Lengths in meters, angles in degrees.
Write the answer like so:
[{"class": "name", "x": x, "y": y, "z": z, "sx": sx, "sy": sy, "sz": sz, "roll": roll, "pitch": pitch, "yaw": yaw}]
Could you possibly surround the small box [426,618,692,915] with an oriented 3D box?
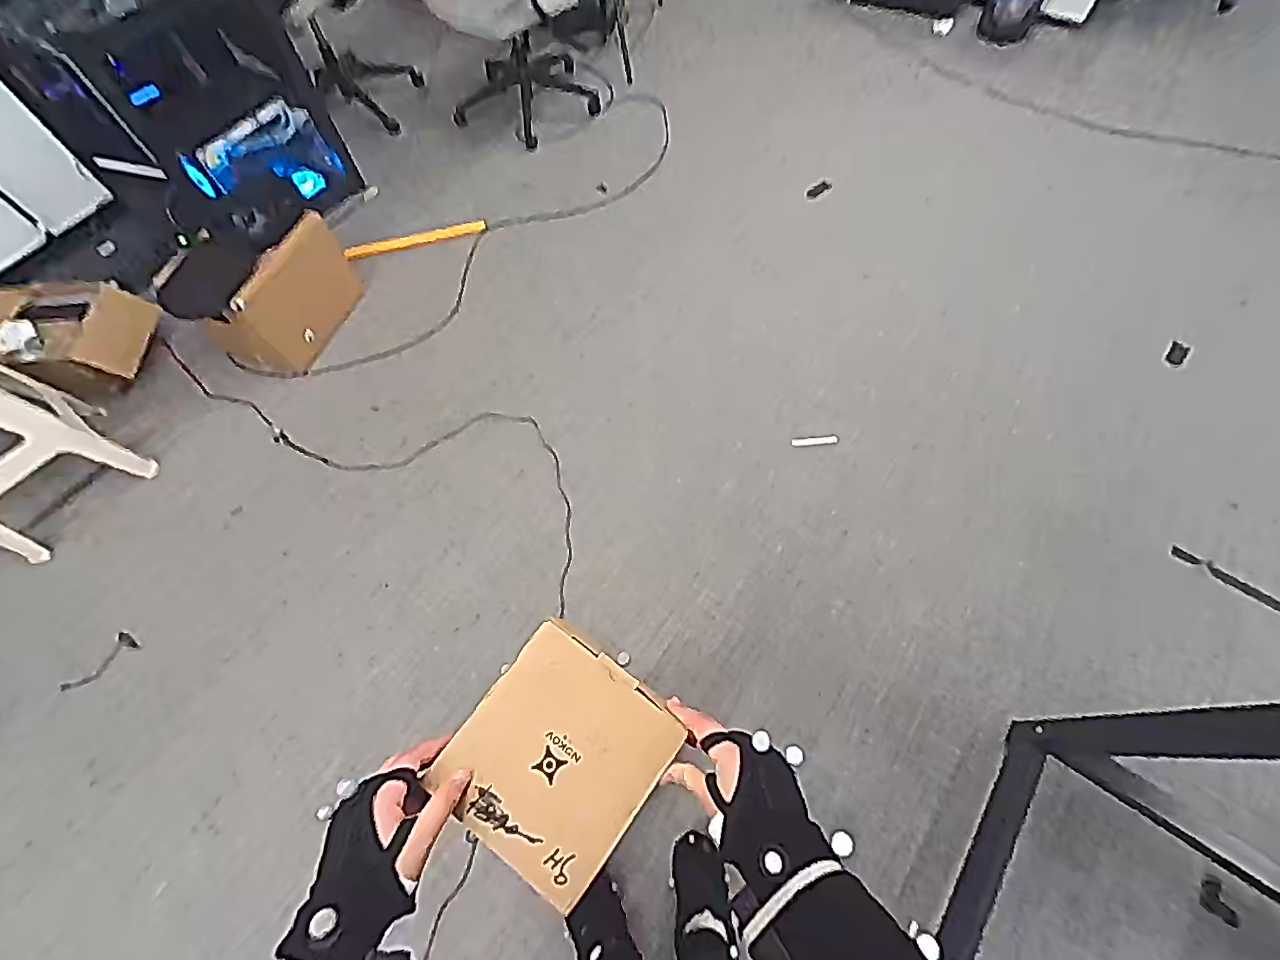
[{"class": "small box", "x": -0.071, "y": 0.261, "z": 0.542, "sx": 0.168, "sy": 0.176, "sz": 0.179, "roll": 36, "pitch": 75, "yaw": 9}]
